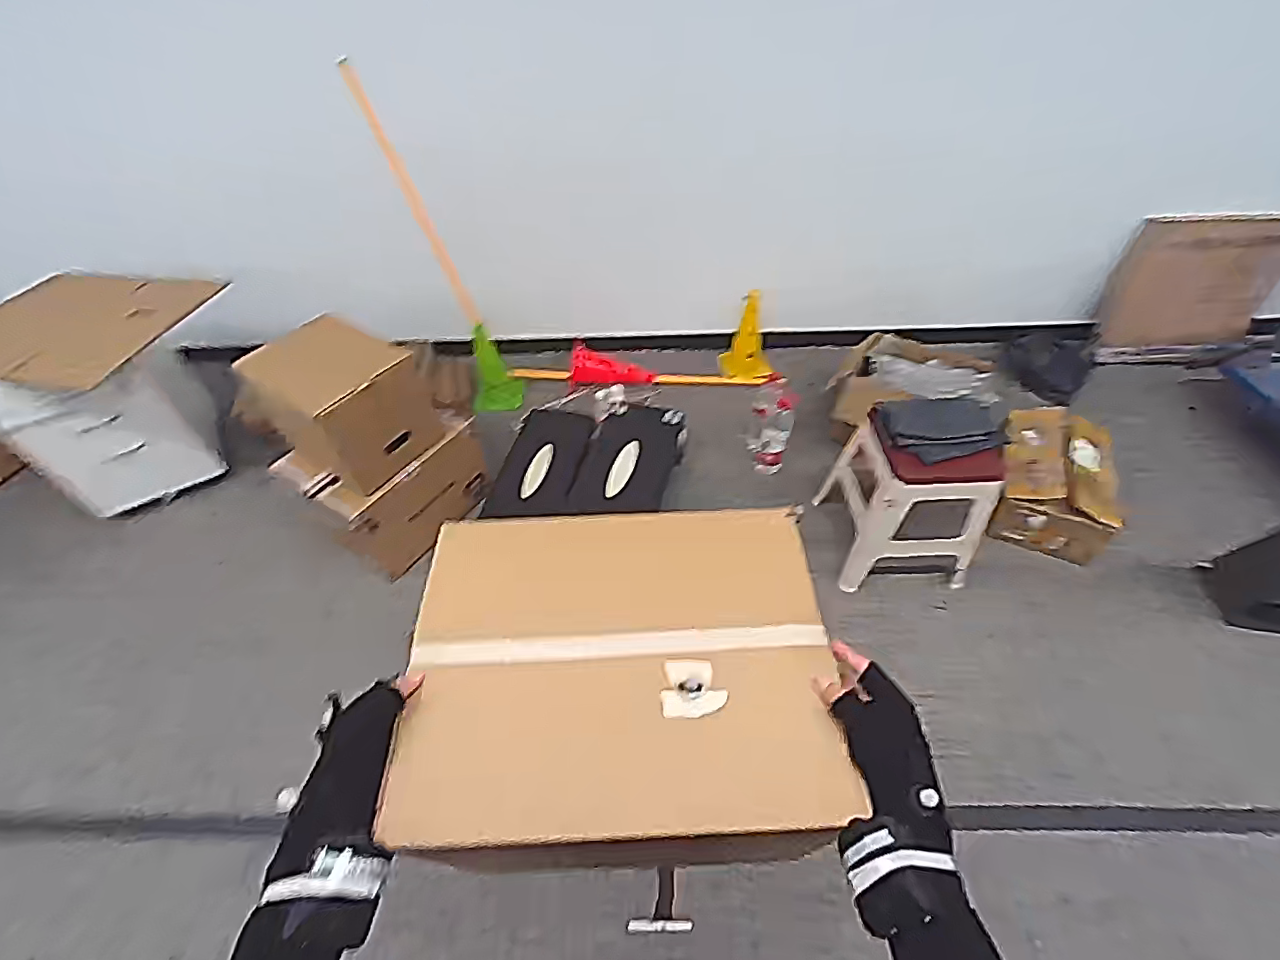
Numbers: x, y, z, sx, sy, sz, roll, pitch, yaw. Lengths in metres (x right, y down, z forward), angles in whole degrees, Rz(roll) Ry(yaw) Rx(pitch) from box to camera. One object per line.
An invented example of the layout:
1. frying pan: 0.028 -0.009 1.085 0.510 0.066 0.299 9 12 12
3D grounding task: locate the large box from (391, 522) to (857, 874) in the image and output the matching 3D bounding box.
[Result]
1. large box: -0.018 0.270 0.660 0.408 0.320 0.320 -2 51 -1
